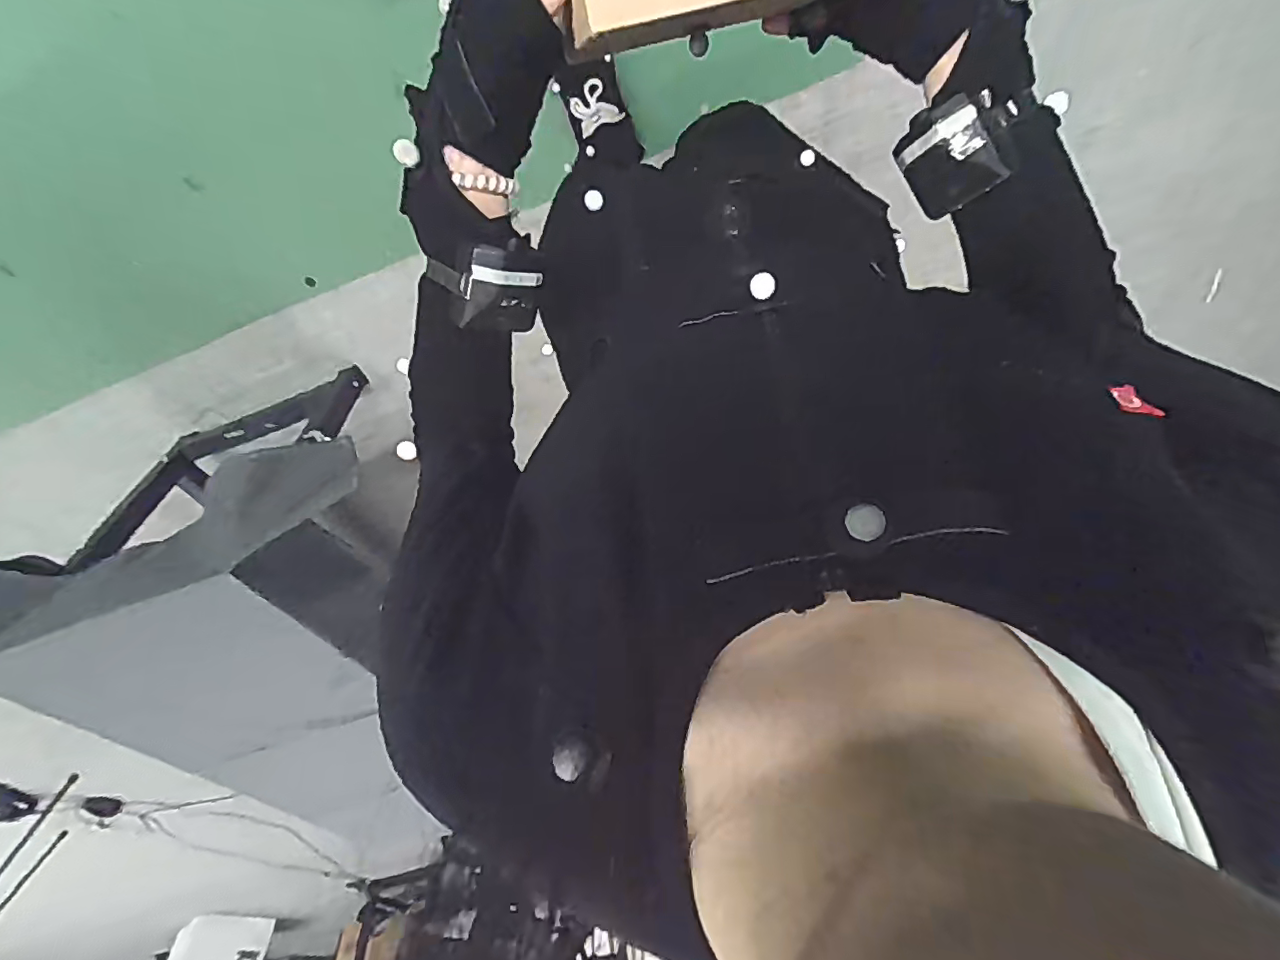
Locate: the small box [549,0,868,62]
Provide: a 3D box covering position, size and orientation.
[{"bbox_3d":[0.023,-0.338,0.280,0.168,0.176,0.179,-14,126,-2],"label":"small box"}]
